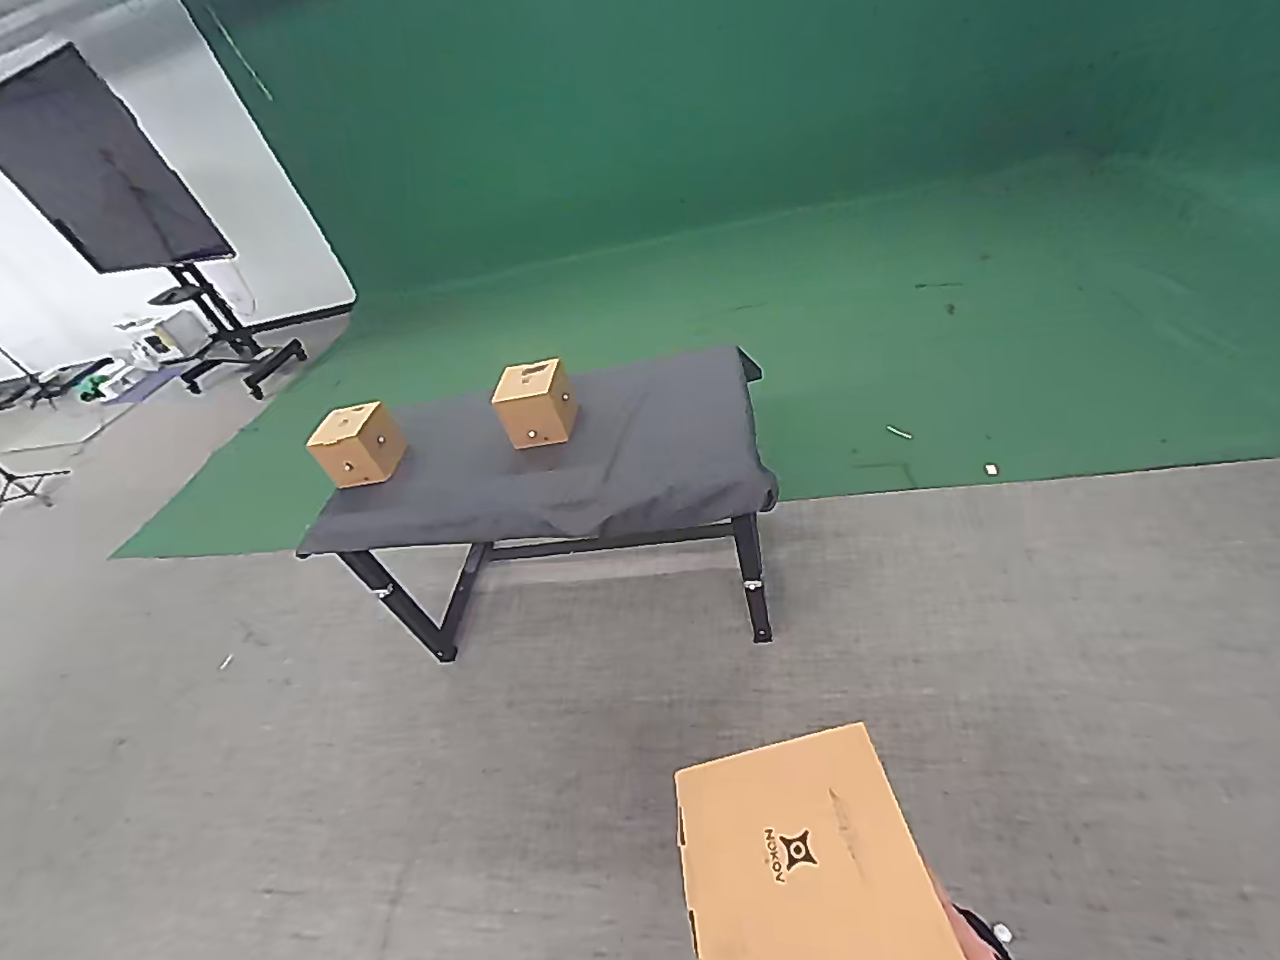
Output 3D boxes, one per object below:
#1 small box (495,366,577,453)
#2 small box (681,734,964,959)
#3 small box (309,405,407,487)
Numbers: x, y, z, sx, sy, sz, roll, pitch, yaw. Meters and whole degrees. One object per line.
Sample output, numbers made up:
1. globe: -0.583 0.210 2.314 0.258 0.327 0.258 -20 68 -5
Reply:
1. small box: -0.286 -0.199 1.538 0.168 0.176 0.179 -7 43 12
2. small box: 0.150 0.355 0.463 0.179 0.176 0.168 -18 35 8
3. small box: -0.824 -0.094 1.604 0.168 0.176 0.179 -8 42 10
